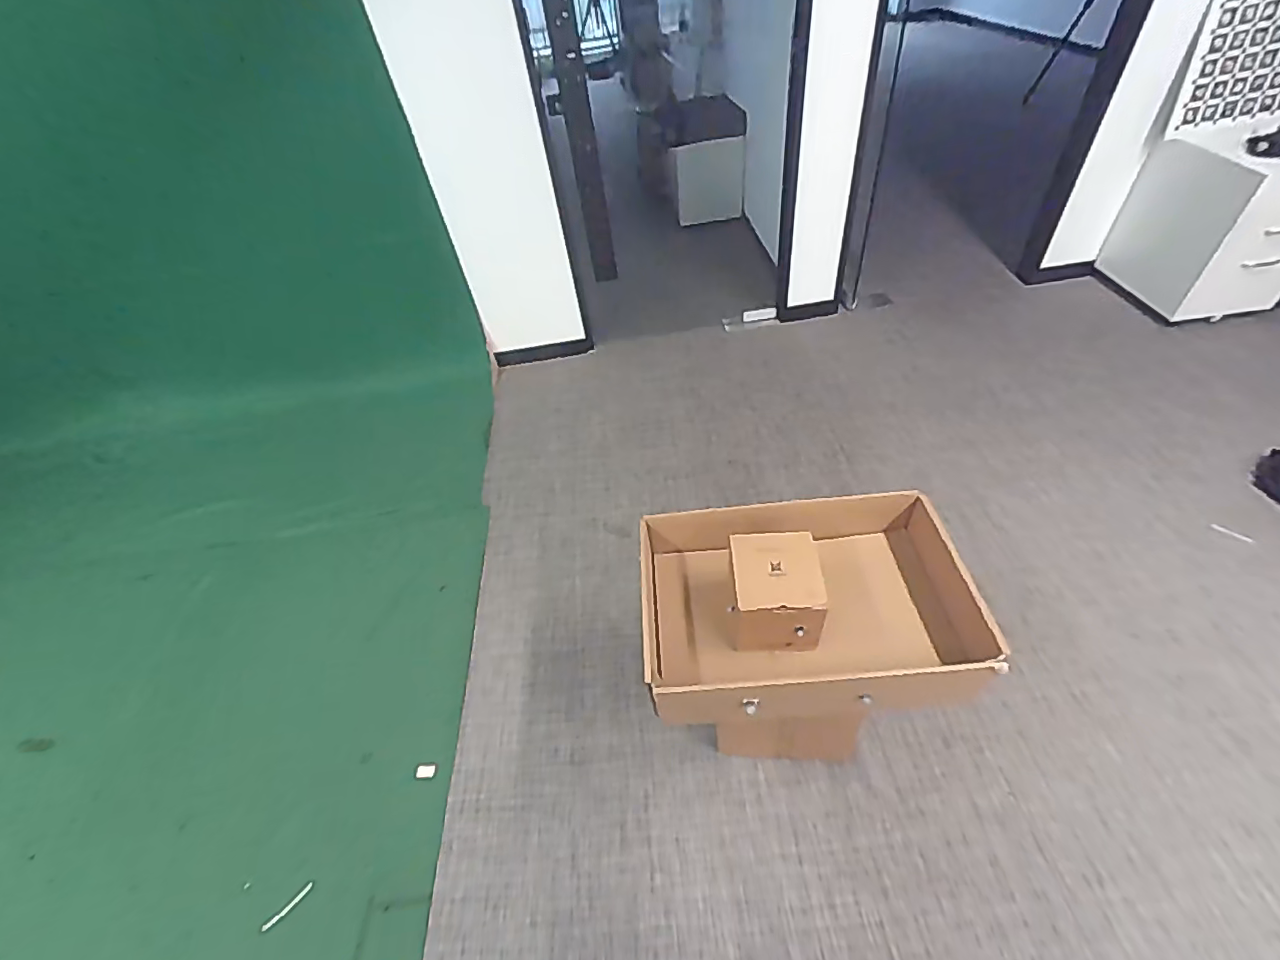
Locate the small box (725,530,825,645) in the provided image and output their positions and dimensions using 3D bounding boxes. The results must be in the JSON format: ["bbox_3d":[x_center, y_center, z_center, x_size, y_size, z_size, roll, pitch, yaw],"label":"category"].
[{"bbox_3d":[0.265,0.222,1.096,0.168,0.176,0.179,-2,45,3],"label":"small box"}]
